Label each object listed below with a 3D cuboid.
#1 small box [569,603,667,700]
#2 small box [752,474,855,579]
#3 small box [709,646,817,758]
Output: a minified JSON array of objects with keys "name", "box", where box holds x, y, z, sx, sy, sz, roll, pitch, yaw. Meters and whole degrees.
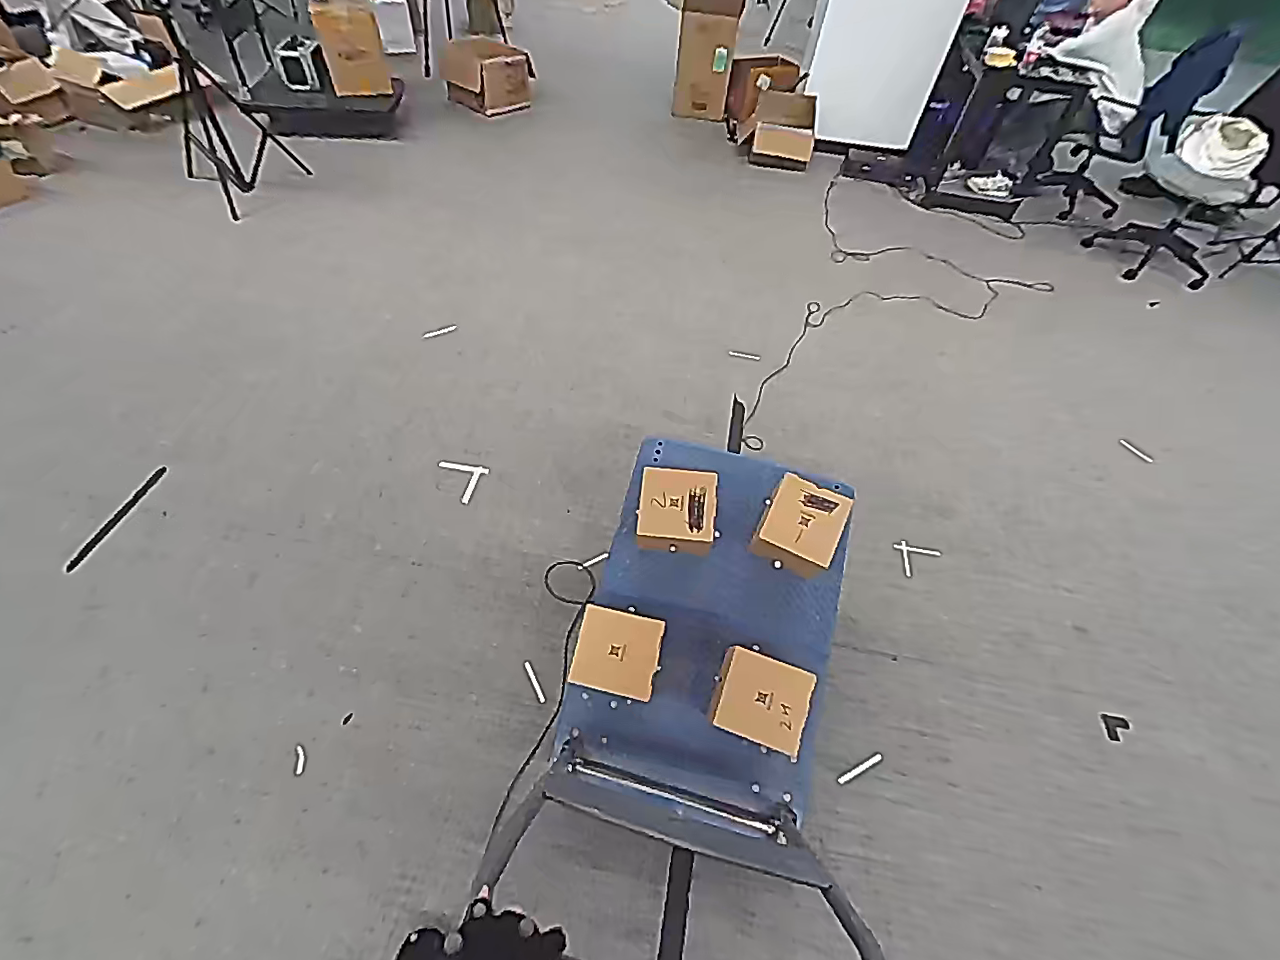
[{"name":"small box","box":[-0.045,0.385,1.211,0.179,0.176,0.168,13,71,4]},{"name":"small box","box":[0.382,0.117,1.293,0.168,0.176,0.179,25,74,10]},{"name":"small box","box":[0.257,0.474,1.170,0.179,0.176,0.168,20,73,8]}]
